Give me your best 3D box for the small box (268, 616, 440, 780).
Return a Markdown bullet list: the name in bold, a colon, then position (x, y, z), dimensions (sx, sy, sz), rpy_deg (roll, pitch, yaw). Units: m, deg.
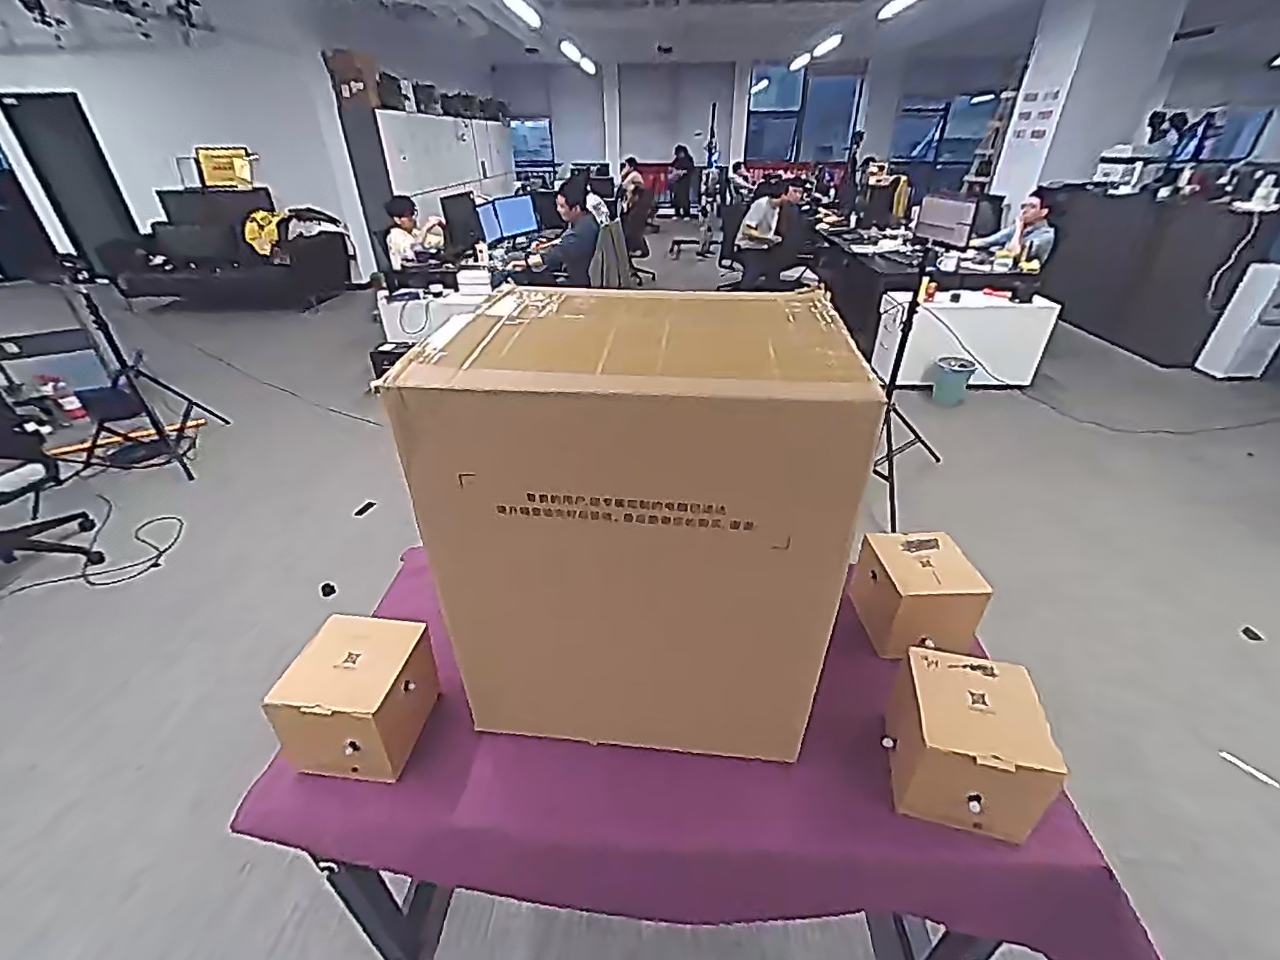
- **small box**: position (-0.437, 0.346, 0.864), dimensions (0.168, 0.176, 0.179), rpy_deg (5, 30, 3)
